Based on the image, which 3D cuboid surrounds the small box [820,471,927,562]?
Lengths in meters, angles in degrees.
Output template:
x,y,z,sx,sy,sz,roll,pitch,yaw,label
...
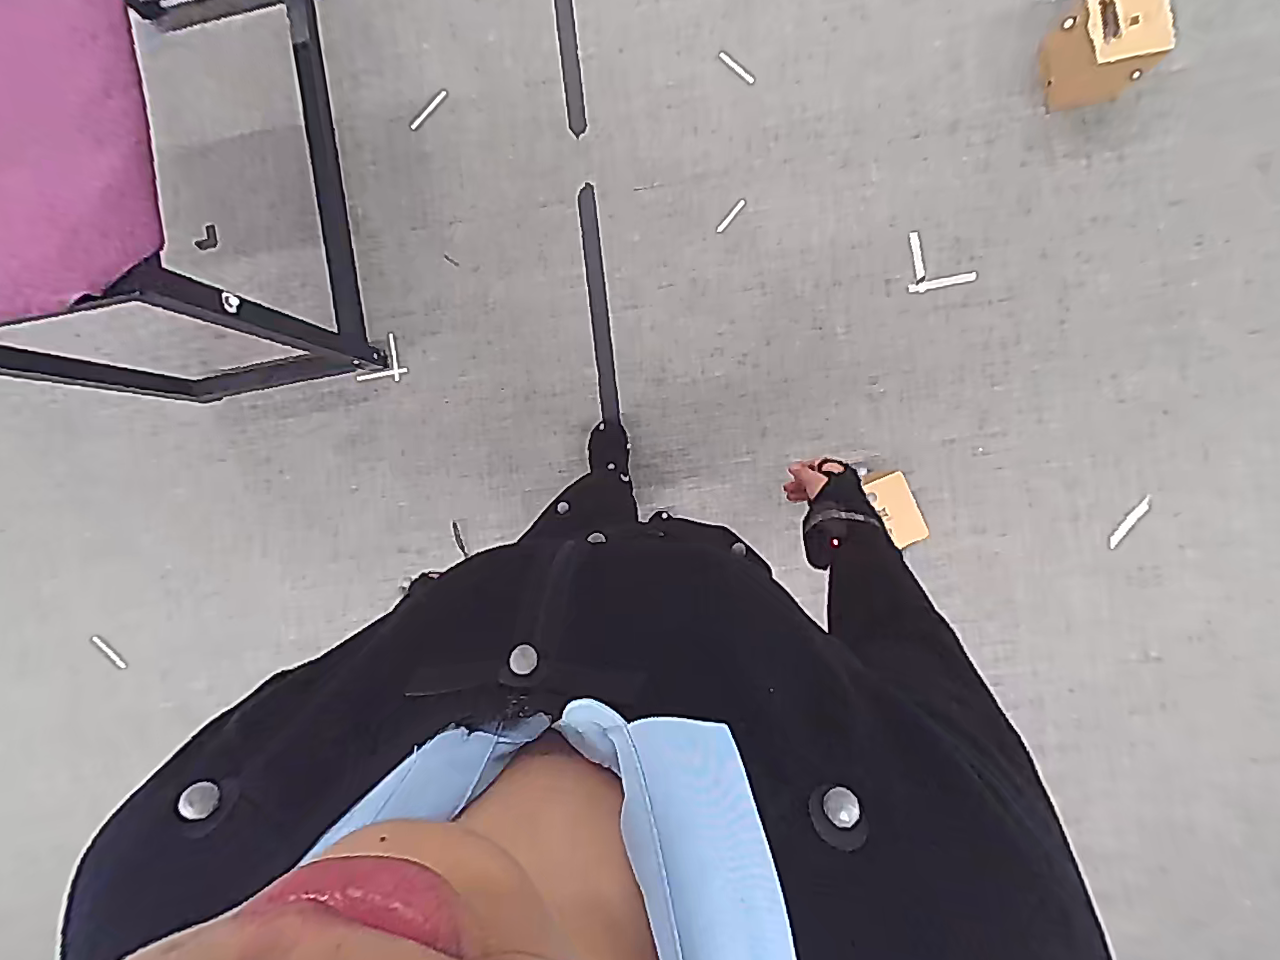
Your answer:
x,y,z,sx,sy,sz,roll,pitch,yaw,label
0.582,0.089,1.372,0.168,0.176,0.179,-23,90,4,small box
